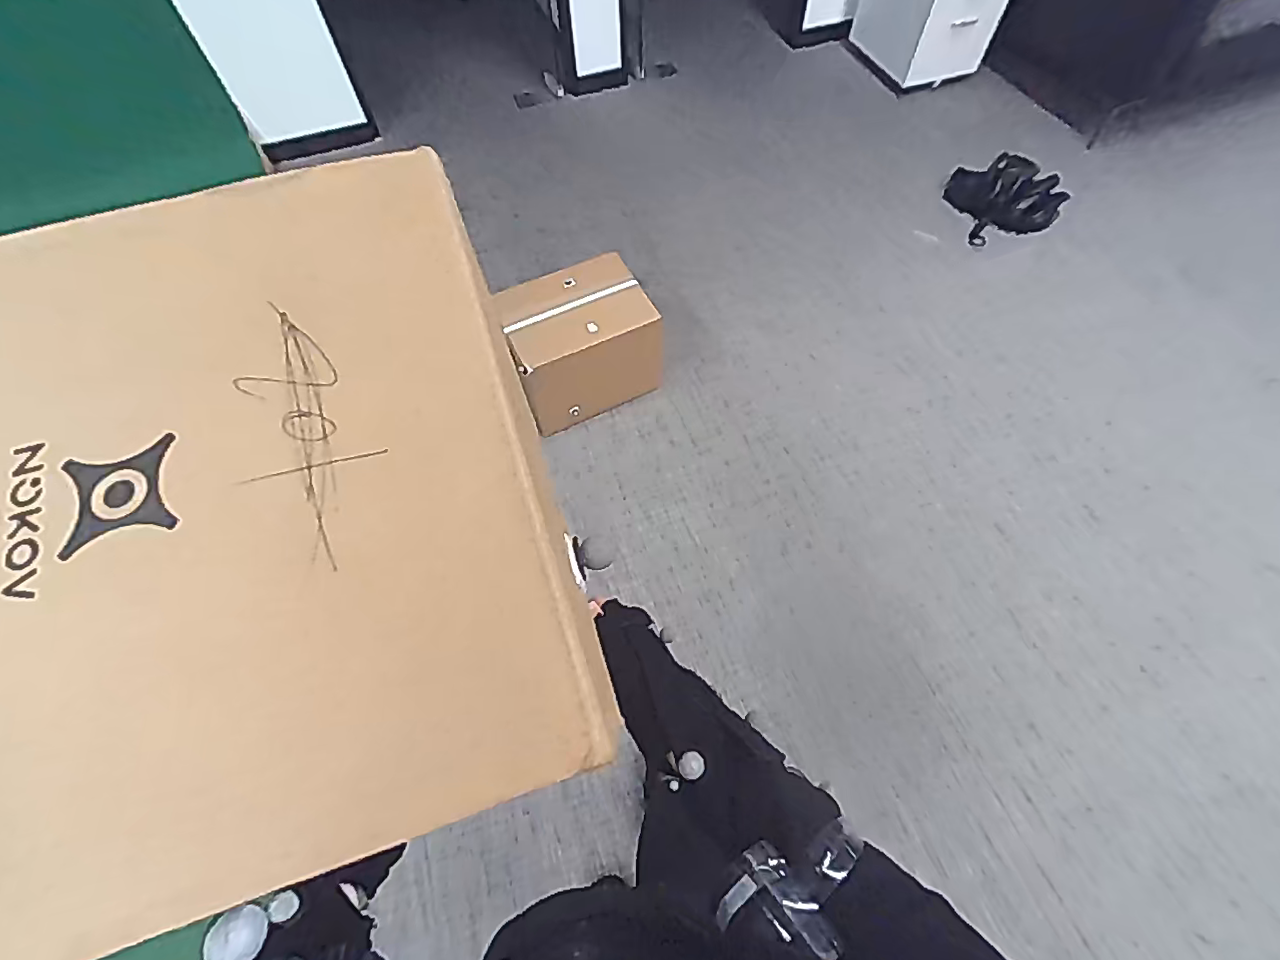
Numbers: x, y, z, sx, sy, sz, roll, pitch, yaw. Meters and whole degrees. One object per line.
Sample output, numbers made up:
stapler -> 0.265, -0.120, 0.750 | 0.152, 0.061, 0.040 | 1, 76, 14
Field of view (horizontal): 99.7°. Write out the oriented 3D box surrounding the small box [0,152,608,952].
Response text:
small box -> -0.117, 0.031, 0.192 | 0.179, 0.176, 0.168 | -17, 71, -8

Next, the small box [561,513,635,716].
small box -> -0.118, 0.155, 0.494 | 0.179, 0.176, 0.168 | -22, 70, -11
